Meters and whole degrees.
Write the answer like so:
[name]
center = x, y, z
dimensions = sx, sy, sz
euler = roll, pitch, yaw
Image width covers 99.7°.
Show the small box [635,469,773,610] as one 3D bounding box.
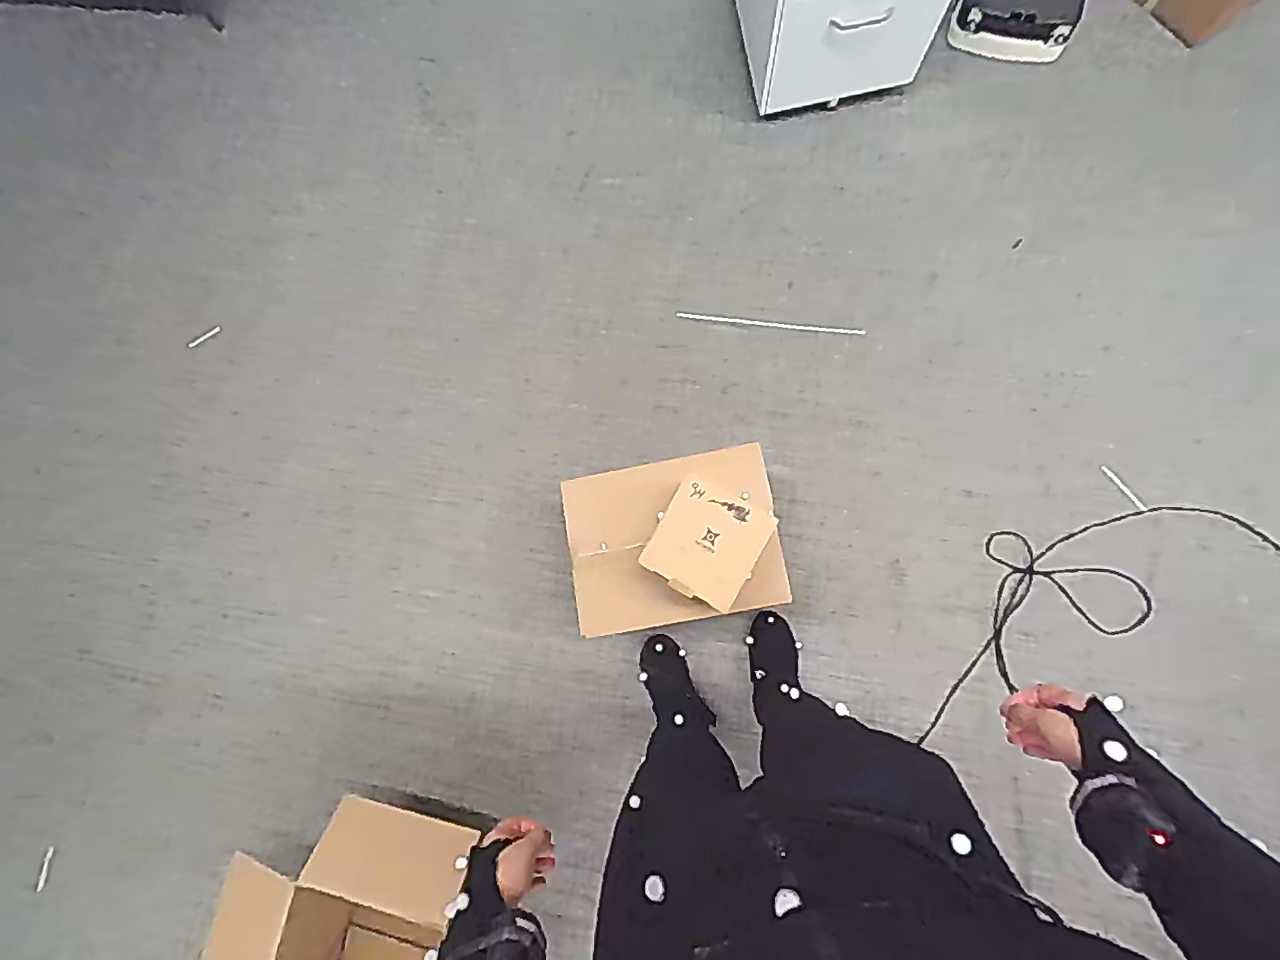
[small box]
center = 0.112, 0.103, 0.950
dimensions = 0.168, 0.176, 0.179
euler = 30, 88, 8
